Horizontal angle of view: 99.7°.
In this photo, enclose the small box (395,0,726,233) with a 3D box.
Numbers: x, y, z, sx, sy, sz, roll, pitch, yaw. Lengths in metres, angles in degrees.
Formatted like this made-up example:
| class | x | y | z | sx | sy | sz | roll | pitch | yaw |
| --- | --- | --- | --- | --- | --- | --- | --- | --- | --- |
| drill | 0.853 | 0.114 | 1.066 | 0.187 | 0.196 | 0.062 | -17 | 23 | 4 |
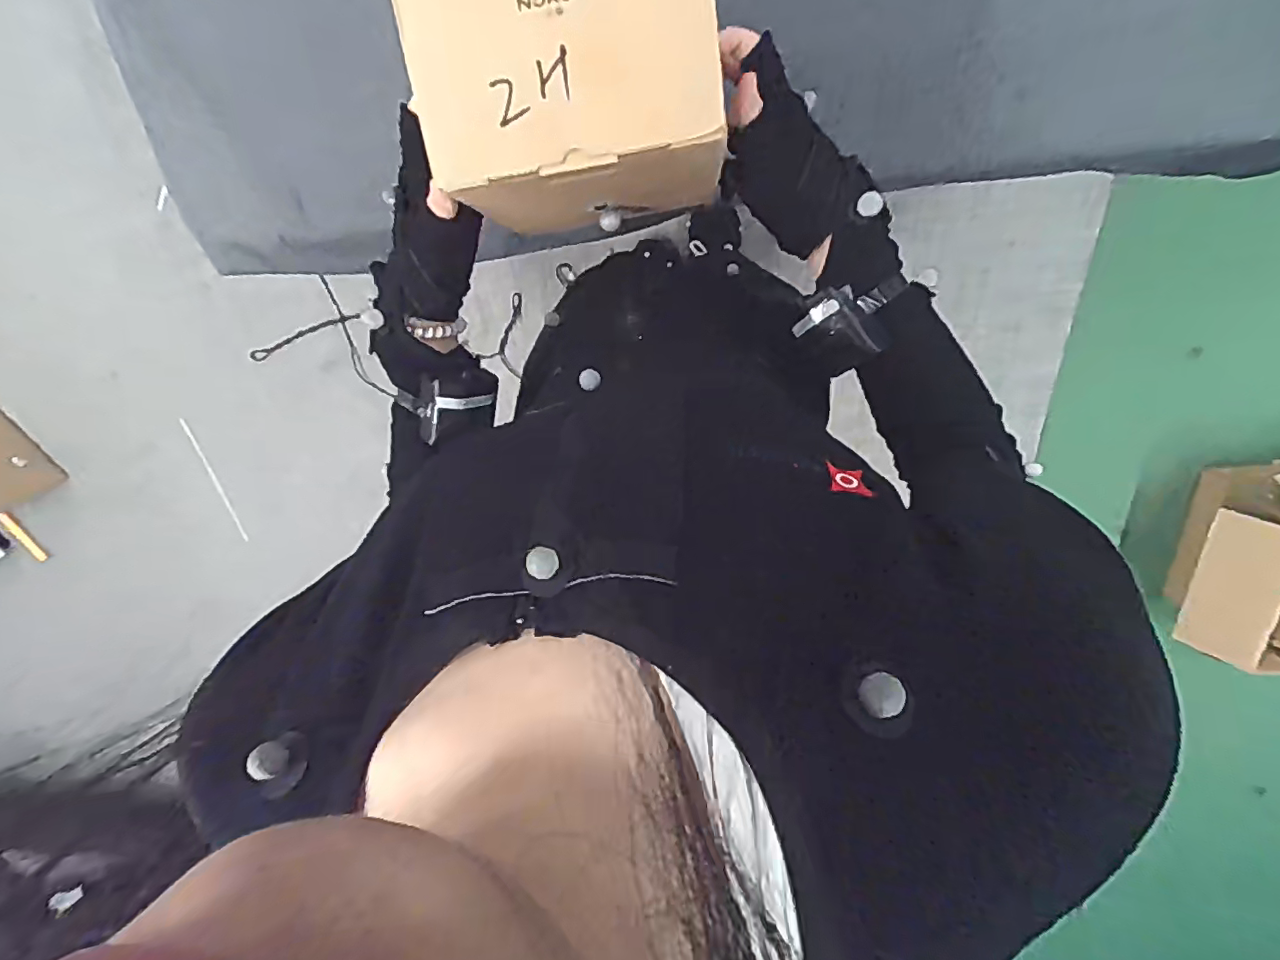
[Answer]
| class | x | y | z | sx | sy | sz | roll | pitch | yaw |
| --- | --- | --- | --- | --- | --- | --- | --- | --- | --- |
| small box | -0.039 | -0.276 | 0.349 | 0.168 | 0.176 | 0.179 | -7 | 107 | 8 |
